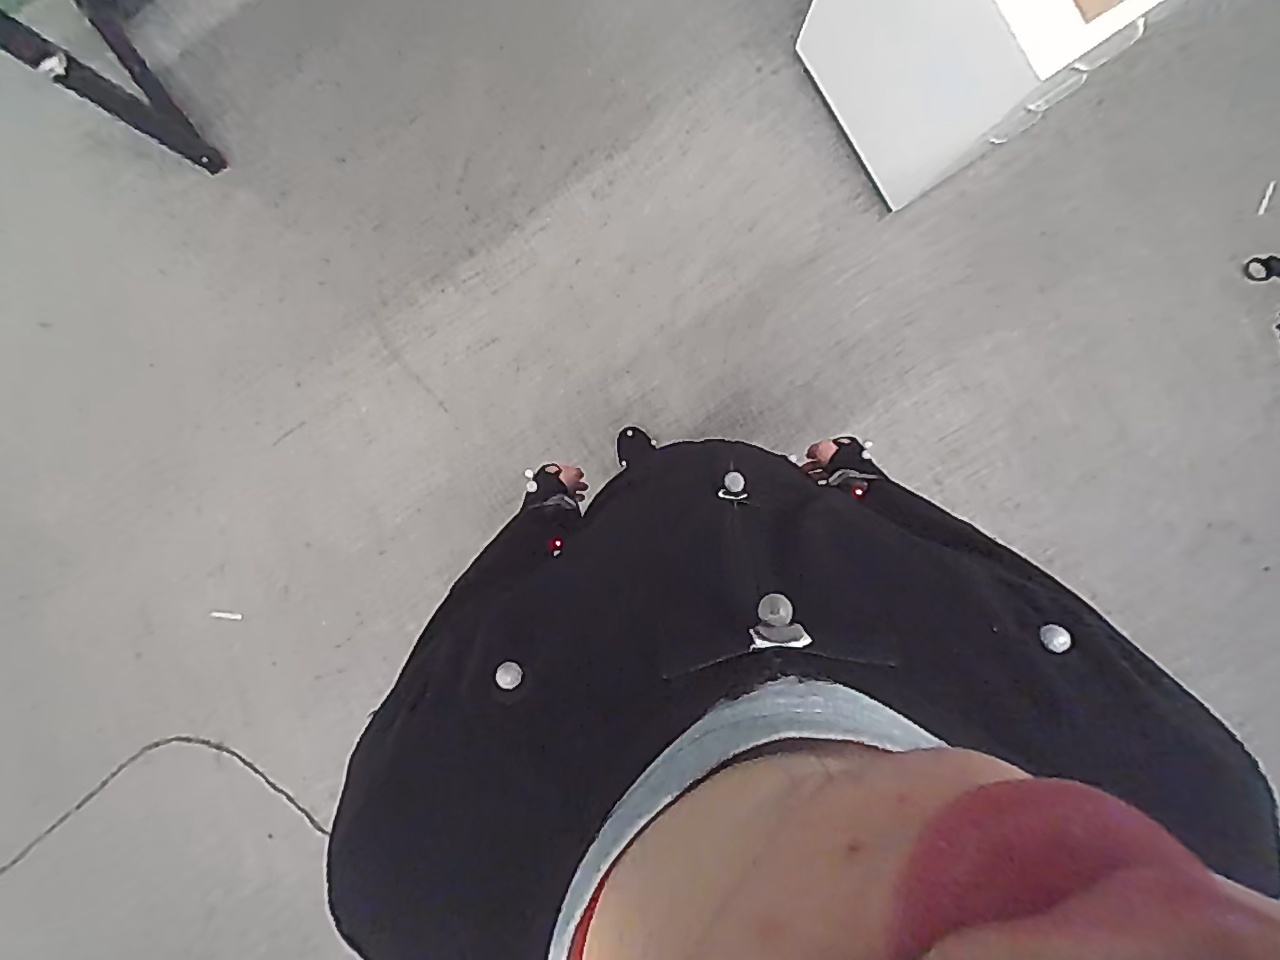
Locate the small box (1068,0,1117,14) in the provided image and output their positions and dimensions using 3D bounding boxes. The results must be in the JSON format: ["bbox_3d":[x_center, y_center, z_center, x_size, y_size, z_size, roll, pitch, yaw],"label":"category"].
[{"bbox_3d":[0.760,-0.864,0.813,0.168,0.176,0.179,-32,95,2],"label":"small box"}]
